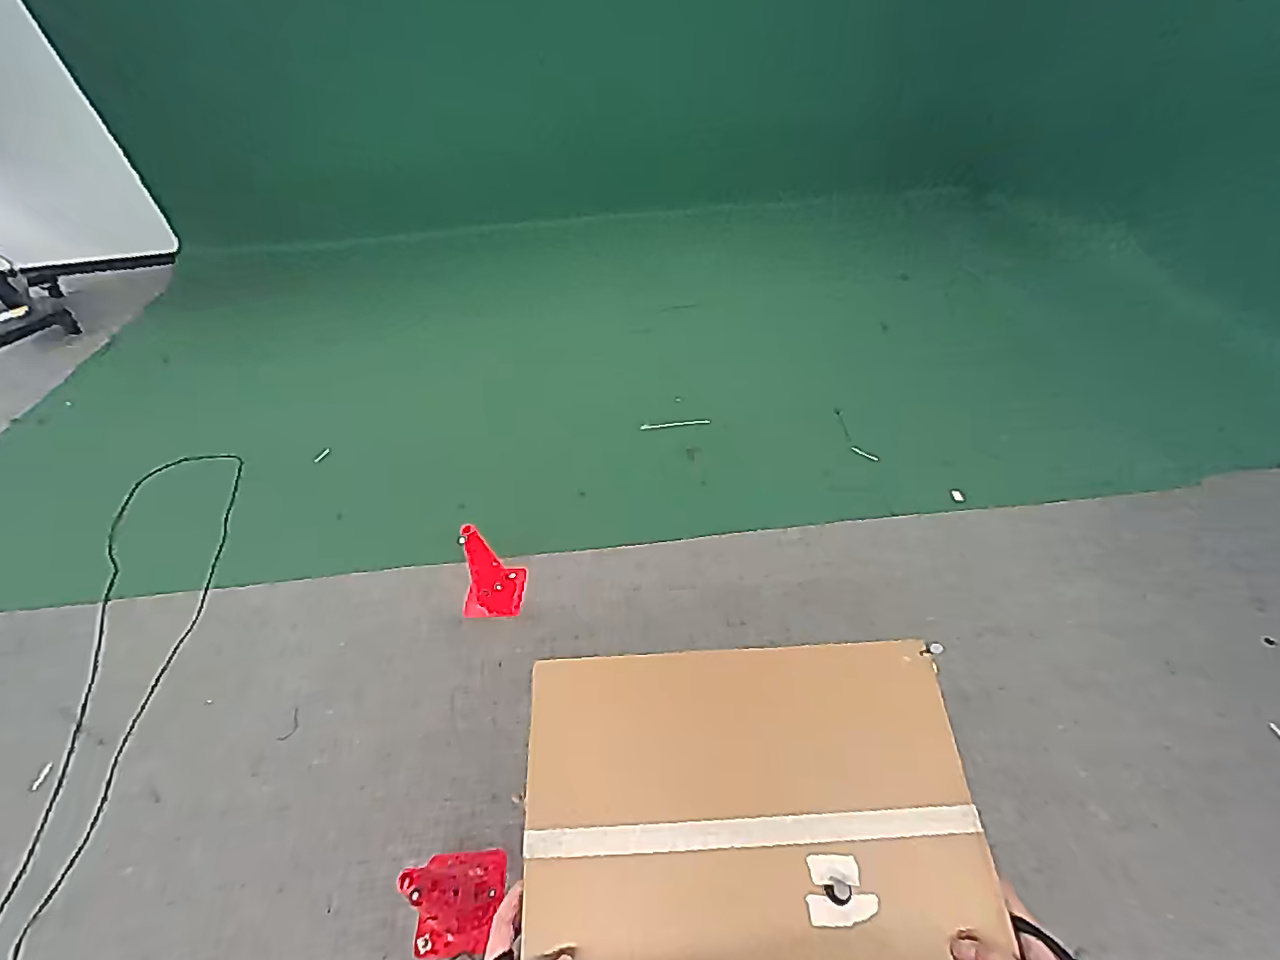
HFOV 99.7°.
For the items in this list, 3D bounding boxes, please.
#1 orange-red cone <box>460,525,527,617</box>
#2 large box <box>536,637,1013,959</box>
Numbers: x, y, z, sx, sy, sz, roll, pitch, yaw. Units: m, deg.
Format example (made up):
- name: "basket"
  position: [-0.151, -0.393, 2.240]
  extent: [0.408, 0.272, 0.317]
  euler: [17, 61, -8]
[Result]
- name: "orange-red cone"
  position: [-0.522, 0.274, 1.776]
  extent: [0.199, 0.360, 0.198]
  euler: [-2, 46, 6]
- name: "large box"
  position: [0.104, 0.386, 0.626]
  extent: [0.408, 0.320, 0.320]
  euler: [-4, 62, -1]
